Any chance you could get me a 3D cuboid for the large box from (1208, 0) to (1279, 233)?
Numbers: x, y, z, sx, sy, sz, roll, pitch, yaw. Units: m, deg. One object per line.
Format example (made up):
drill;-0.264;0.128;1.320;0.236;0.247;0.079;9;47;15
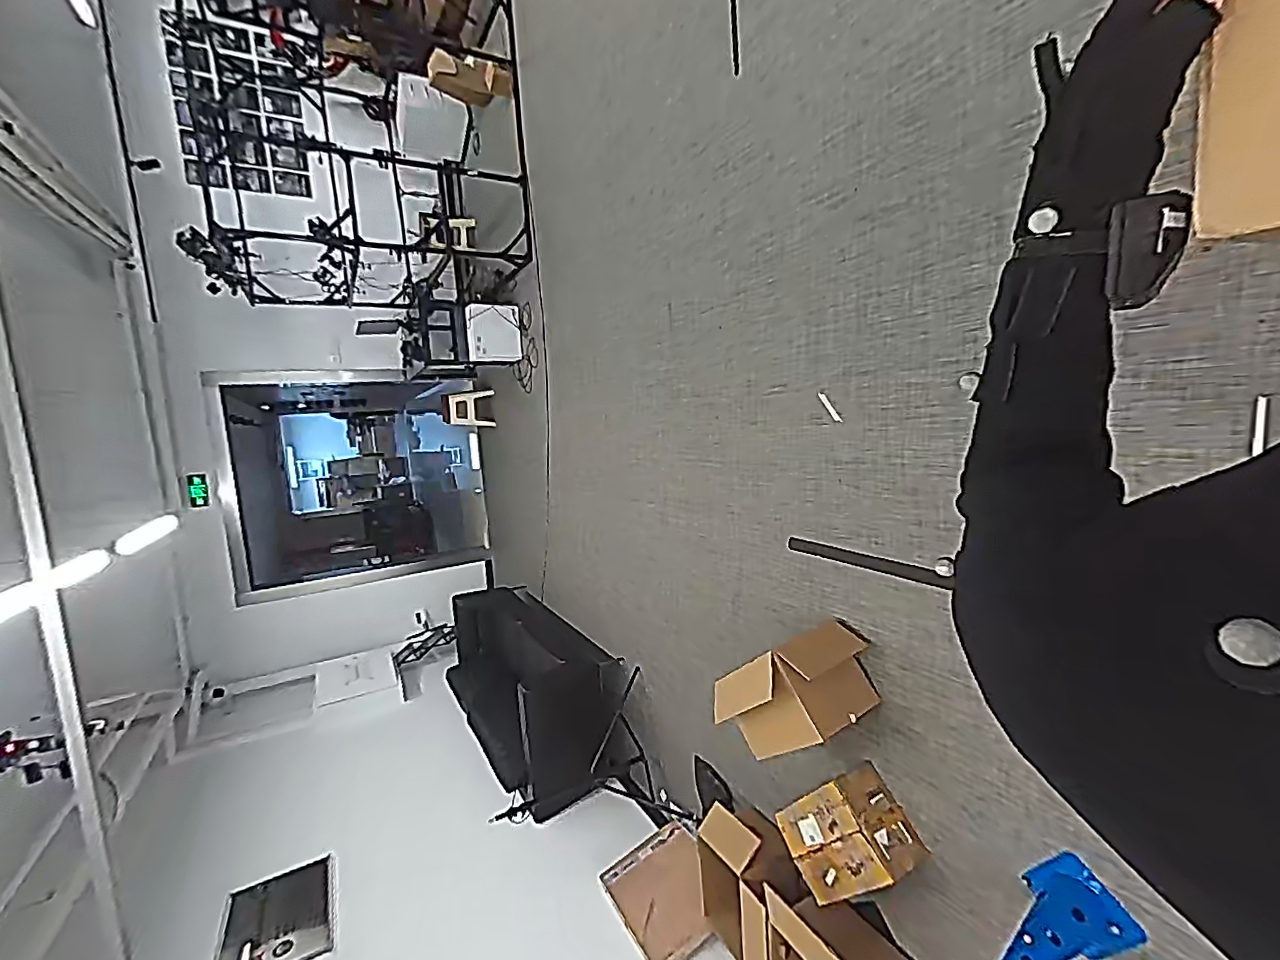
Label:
large box;0.538;-0.312;0.202;0.408;0.320;0.320;8;110;57
